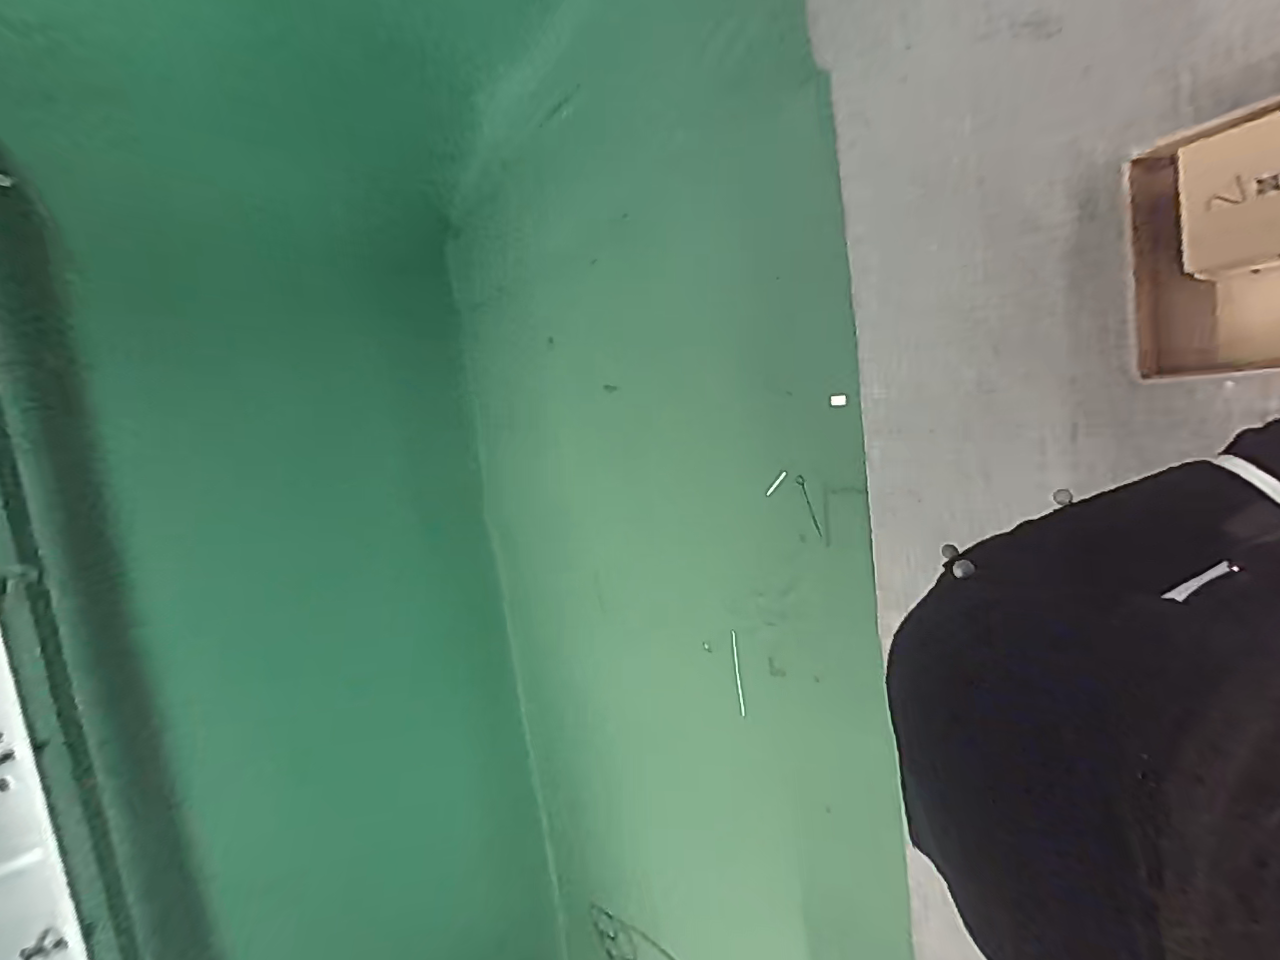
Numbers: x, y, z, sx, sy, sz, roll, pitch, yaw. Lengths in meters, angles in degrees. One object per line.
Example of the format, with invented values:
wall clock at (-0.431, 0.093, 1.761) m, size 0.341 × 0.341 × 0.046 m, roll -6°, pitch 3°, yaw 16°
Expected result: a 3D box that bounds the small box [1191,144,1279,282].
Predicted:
small box at (0.985, -0.410, 0.831) m, size 0.168 × 0.176 × 0.179 m, roll 6°, pitch 105°, yaw 52°
